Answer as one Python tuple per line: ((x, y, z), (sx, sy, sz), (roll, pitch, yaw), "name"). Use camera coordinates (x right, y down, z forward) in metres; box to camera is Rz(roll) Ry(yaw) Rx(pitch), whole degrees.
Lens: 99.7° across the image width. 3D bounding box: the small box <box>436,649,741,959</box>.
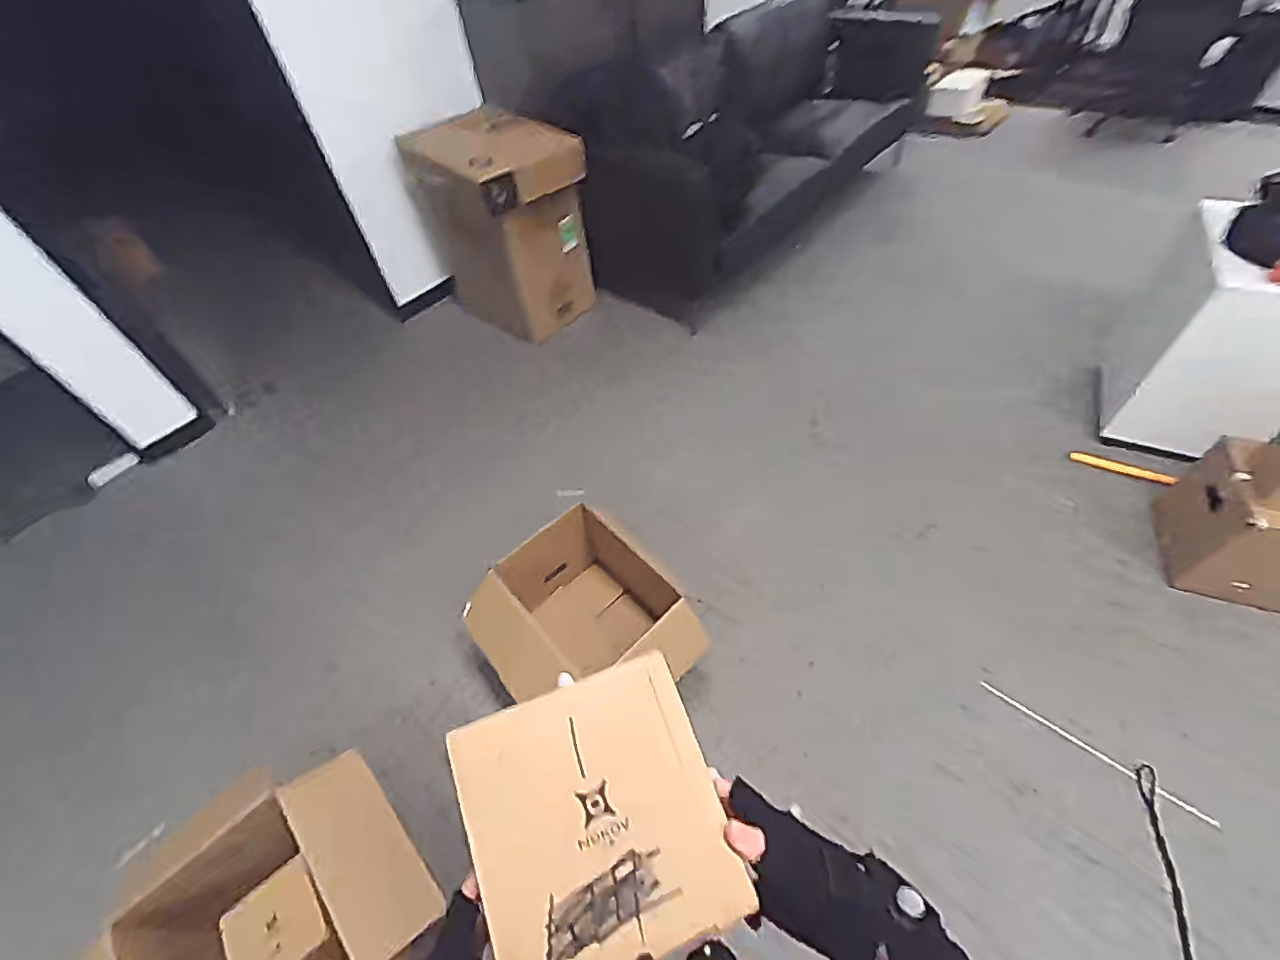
((-0.045, 0.257, 0.436), (0.168, 0.176, 0.179), (-18, 68, -15), "small box")
